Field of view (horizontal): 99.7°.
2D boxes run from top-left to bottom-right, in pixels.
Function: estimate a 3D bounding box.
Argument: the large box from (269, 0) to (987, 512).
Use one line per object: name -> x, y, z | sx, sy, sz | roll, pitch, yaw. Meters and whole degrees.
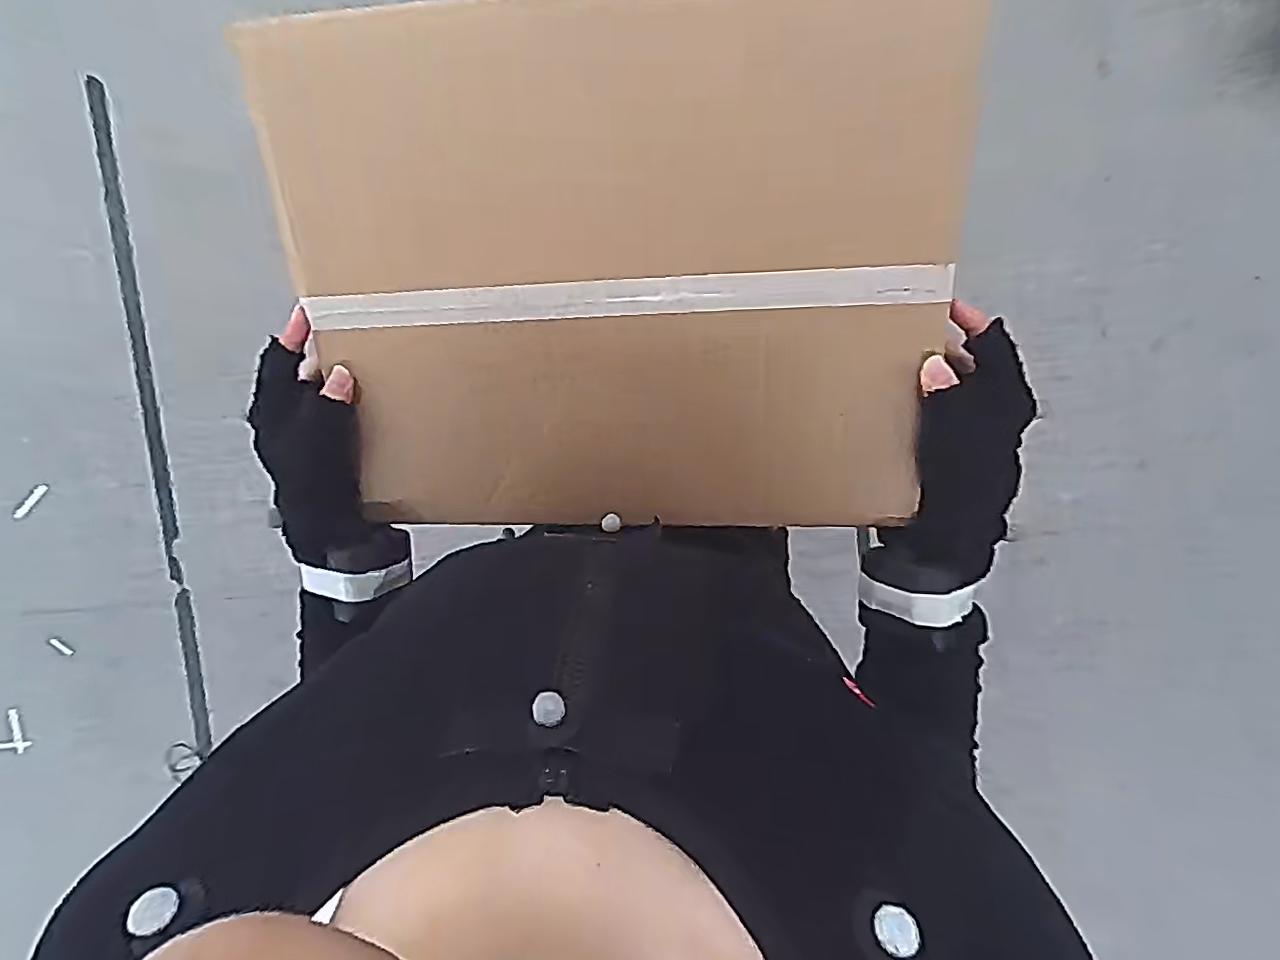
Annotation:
large box -> 0.000, -0.174, 0.482 | 0.408, 0.320, 0.320 | 0, 113, 6
